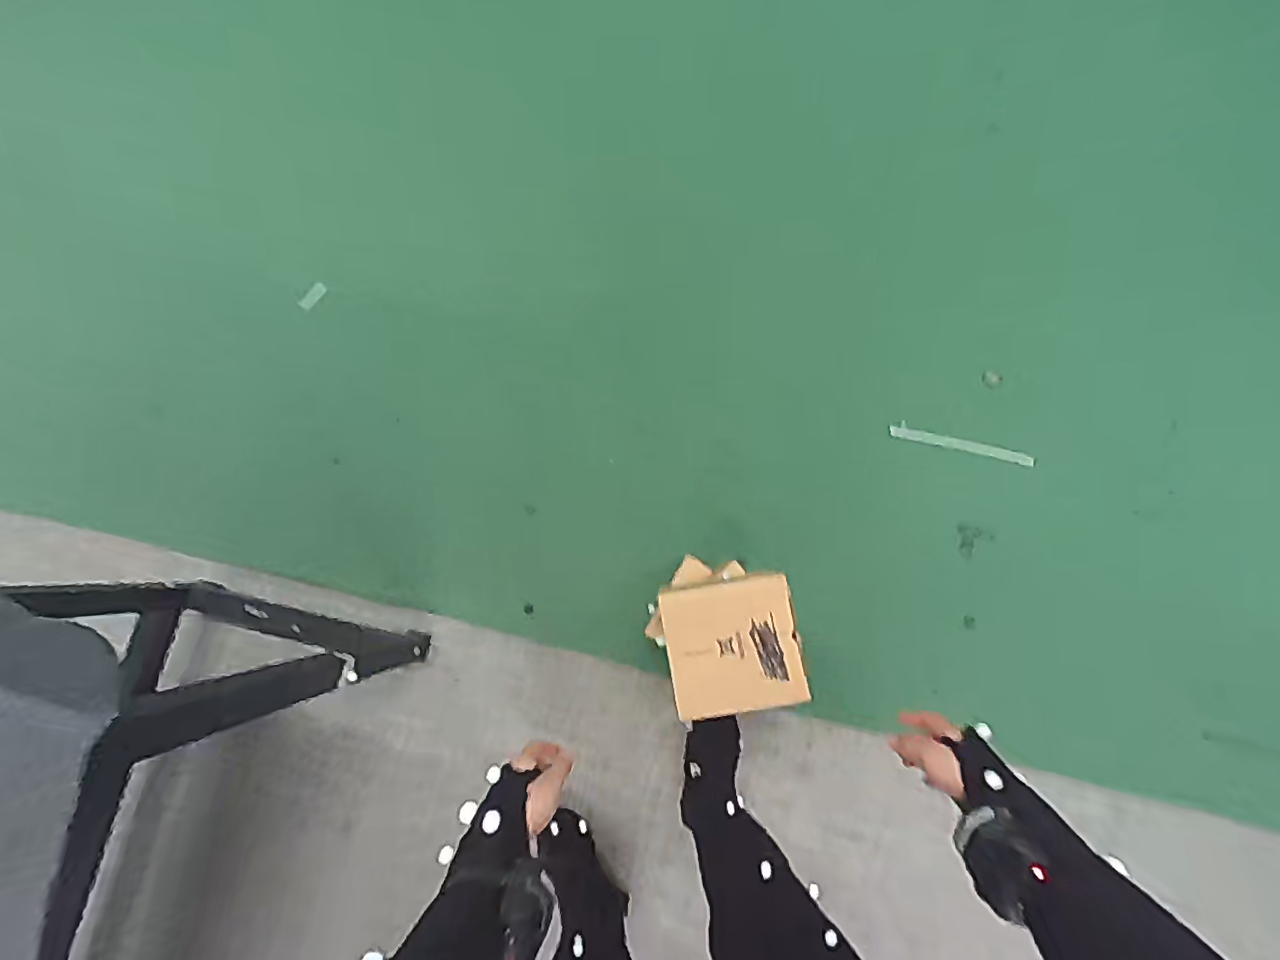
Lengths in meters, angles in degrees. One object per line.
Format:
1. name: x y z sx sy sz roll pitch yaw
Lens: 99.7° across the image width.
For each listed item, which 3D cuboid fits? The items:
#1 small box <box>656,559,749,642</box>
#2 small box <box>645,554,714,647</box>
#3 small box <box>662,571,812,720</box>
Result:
1. small box: 0.147 0.256 0.950 0.179 0.176 0.168 -39 82 -4
2. small box: 0.127 0.269 1.114 0.168 0.176 0.179 29 83 7
3. small box: 0.130 0.229 0.789 0.179 0.176 0.168 -10 82 2
